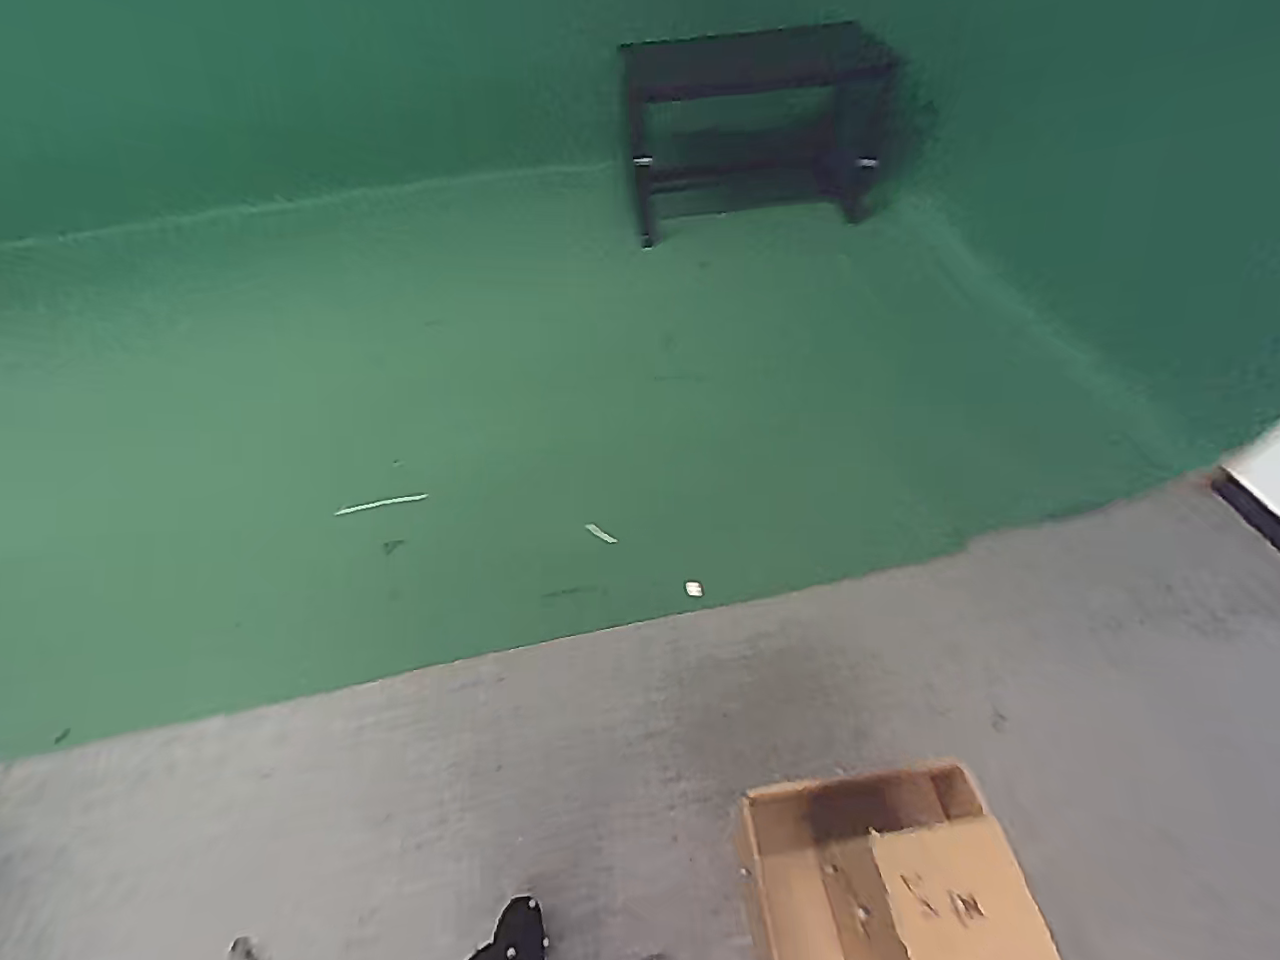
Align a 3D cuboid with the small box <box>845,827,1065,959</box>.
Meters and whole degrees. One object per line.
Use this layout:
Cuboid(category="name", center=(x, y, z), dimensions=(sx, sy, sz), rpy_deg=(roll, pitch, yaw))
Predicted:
Cuboid(category="small box", center=(0.396, 0.565, 0.707), dimensions=(0.179, 0.176, 0.168), rpy_deg=(-7, 53, -2))
